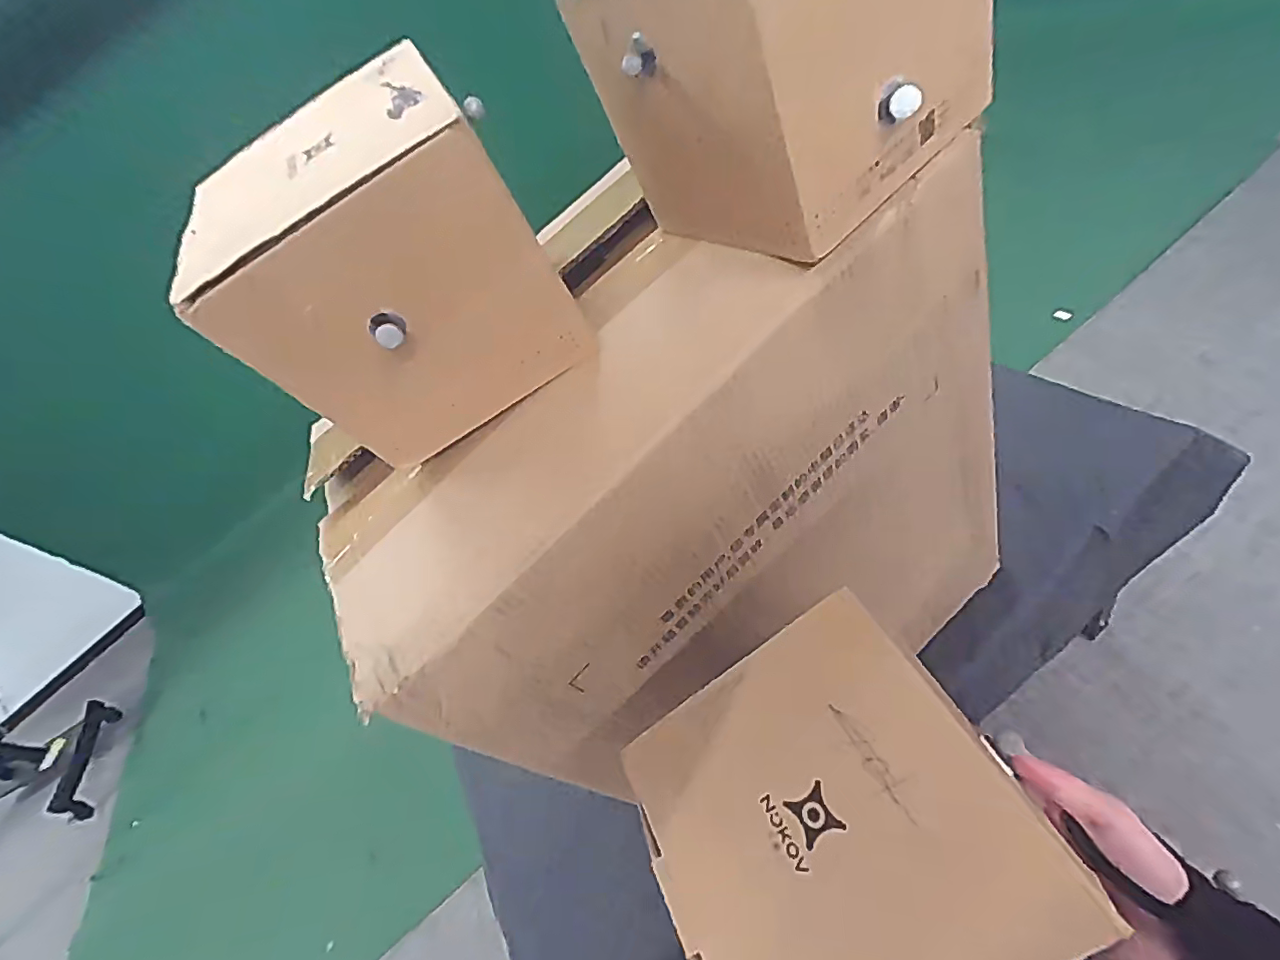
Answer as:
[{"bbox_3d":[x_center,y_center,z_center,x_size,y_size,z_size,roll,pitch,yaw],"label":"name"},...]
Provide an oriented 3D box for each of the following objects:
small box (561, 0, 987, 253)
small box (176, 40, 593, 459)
[{"bbox_3d":[0.084,-0.271,0.342,0.168,0.176,0.179,-43,44,-5],"label":"small box"},{"bbox_3d":[-0.162,-0.145,0.376,0.179,0.176,0.168,-32,55,4],"label":"small box"}]
